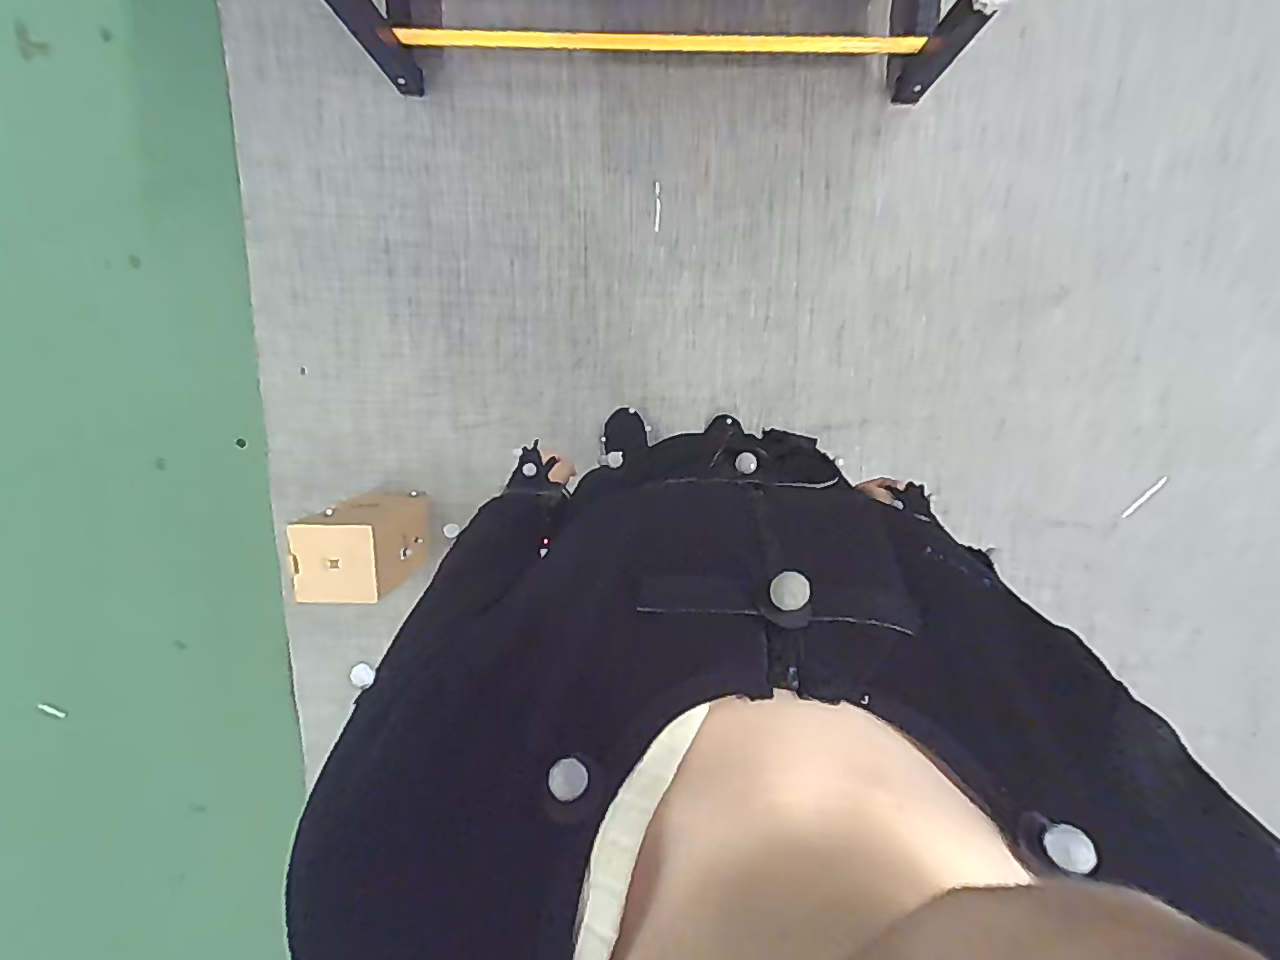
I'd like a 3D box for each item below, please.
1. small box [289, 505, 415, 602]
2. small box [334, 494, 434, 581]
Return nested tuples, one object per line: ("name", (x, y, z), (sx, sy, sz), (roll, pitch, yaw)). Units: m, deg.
("small box", (-0.606, 0.152, 1.156), (0.179, 0.176, 0.168), (-1, 100, 1))
("small box", (-0.616, 0.132, 1.318), (0.168, 0.176, 0.179), (3, 99, 1))
